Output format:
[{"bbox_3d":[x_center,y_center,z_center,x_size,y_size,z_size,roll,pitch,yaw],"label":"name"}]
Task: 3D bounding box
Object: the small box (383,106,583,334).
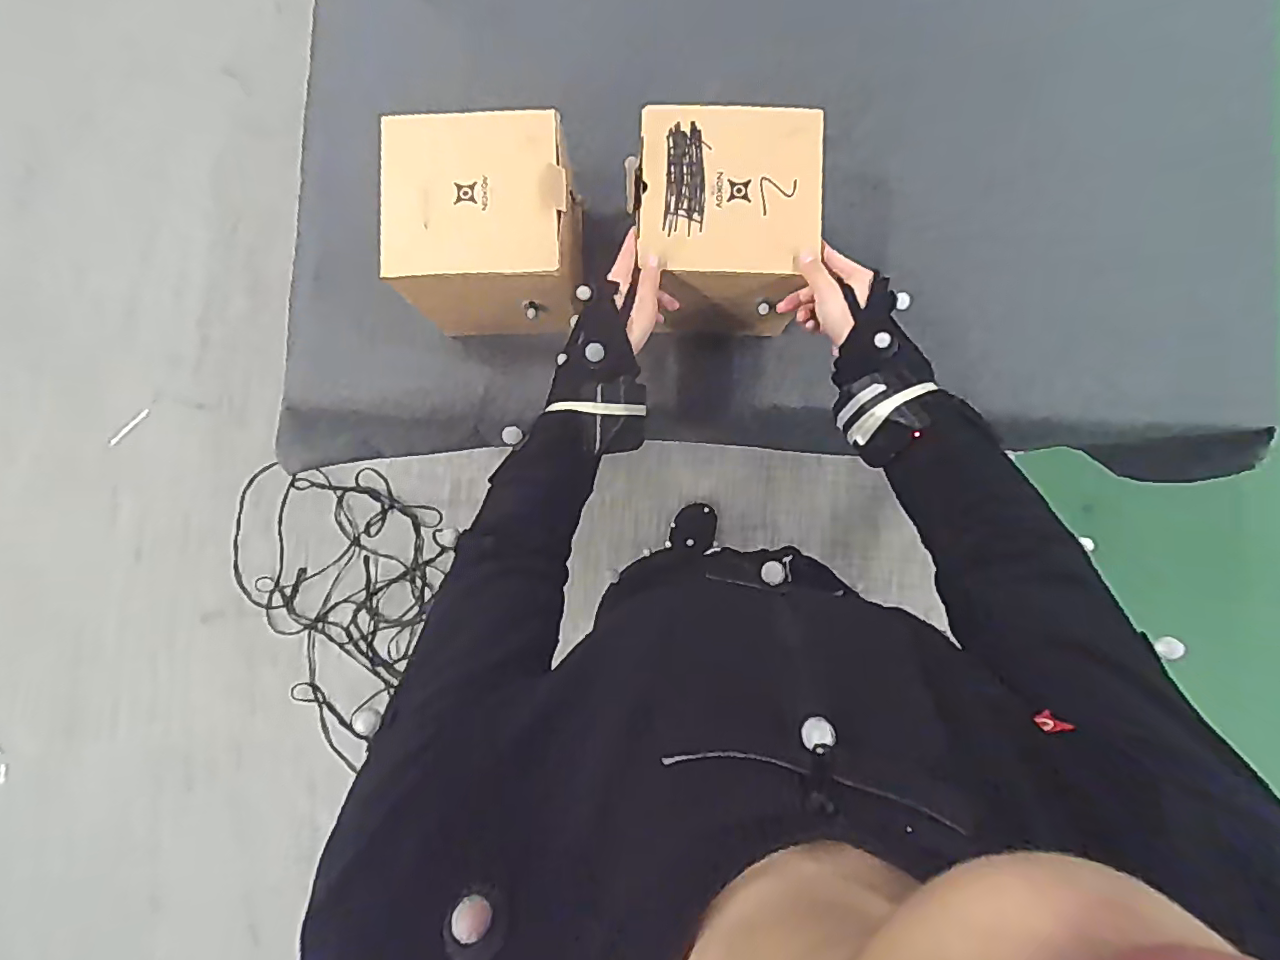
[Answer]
[{"bbox_3d":[-0.158,-0.270,0.596,0.179,0.176,0.168,-3,85,2],"label":"small box"}]
